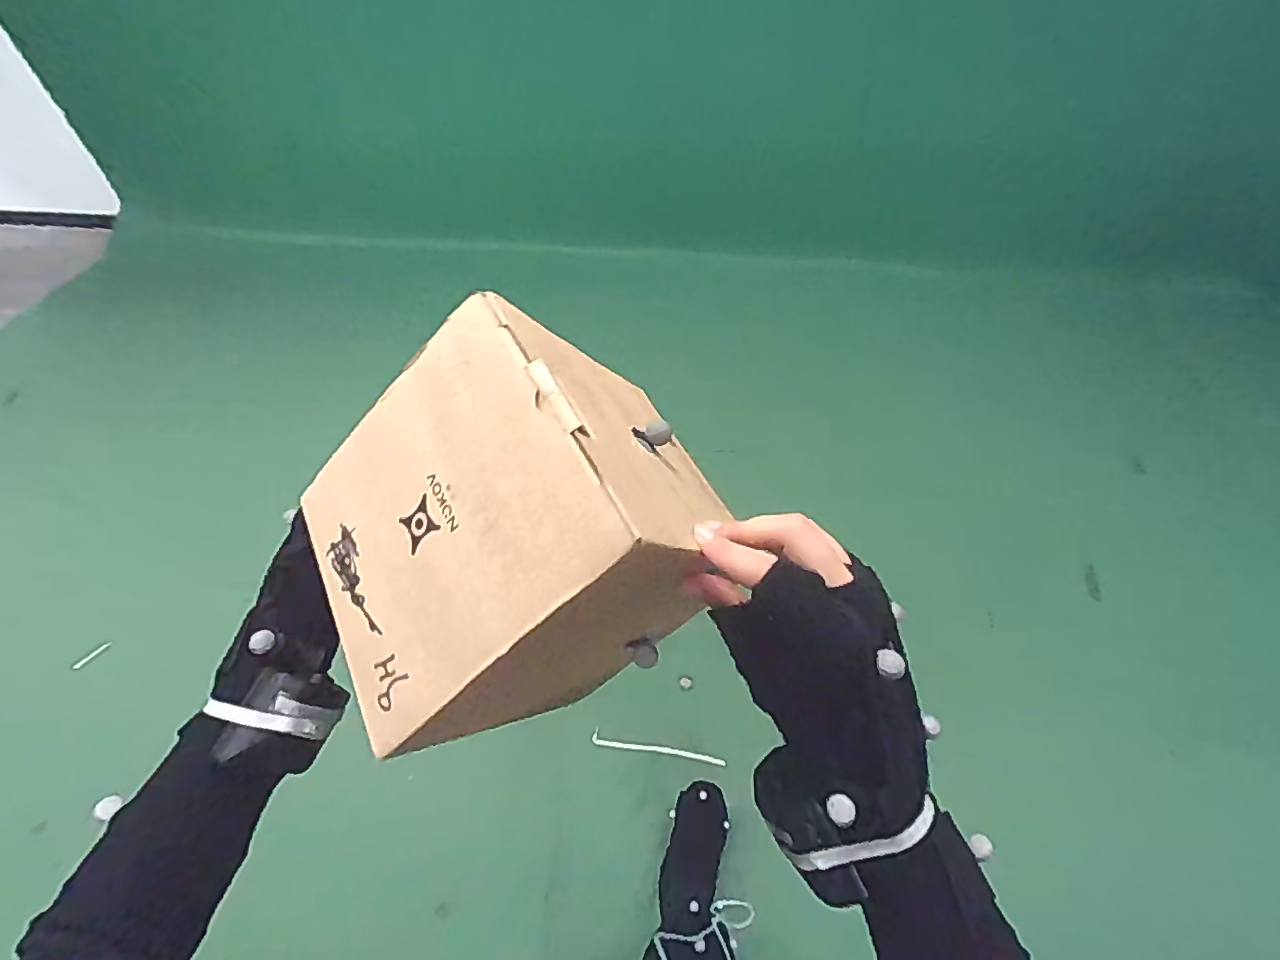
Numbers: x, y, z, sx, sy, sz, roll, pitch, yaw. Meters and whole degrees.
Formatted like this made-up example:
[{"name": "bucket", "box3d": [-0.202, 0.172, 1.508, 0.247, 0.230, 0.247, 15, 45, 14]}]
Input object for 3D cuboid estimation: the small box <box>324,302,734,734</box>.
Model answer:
[{"name": "small box", "box3d": [-0.059, 0.030, 0.353, 0.179, 0.176, 0.168, -41, 62, 14]}]
